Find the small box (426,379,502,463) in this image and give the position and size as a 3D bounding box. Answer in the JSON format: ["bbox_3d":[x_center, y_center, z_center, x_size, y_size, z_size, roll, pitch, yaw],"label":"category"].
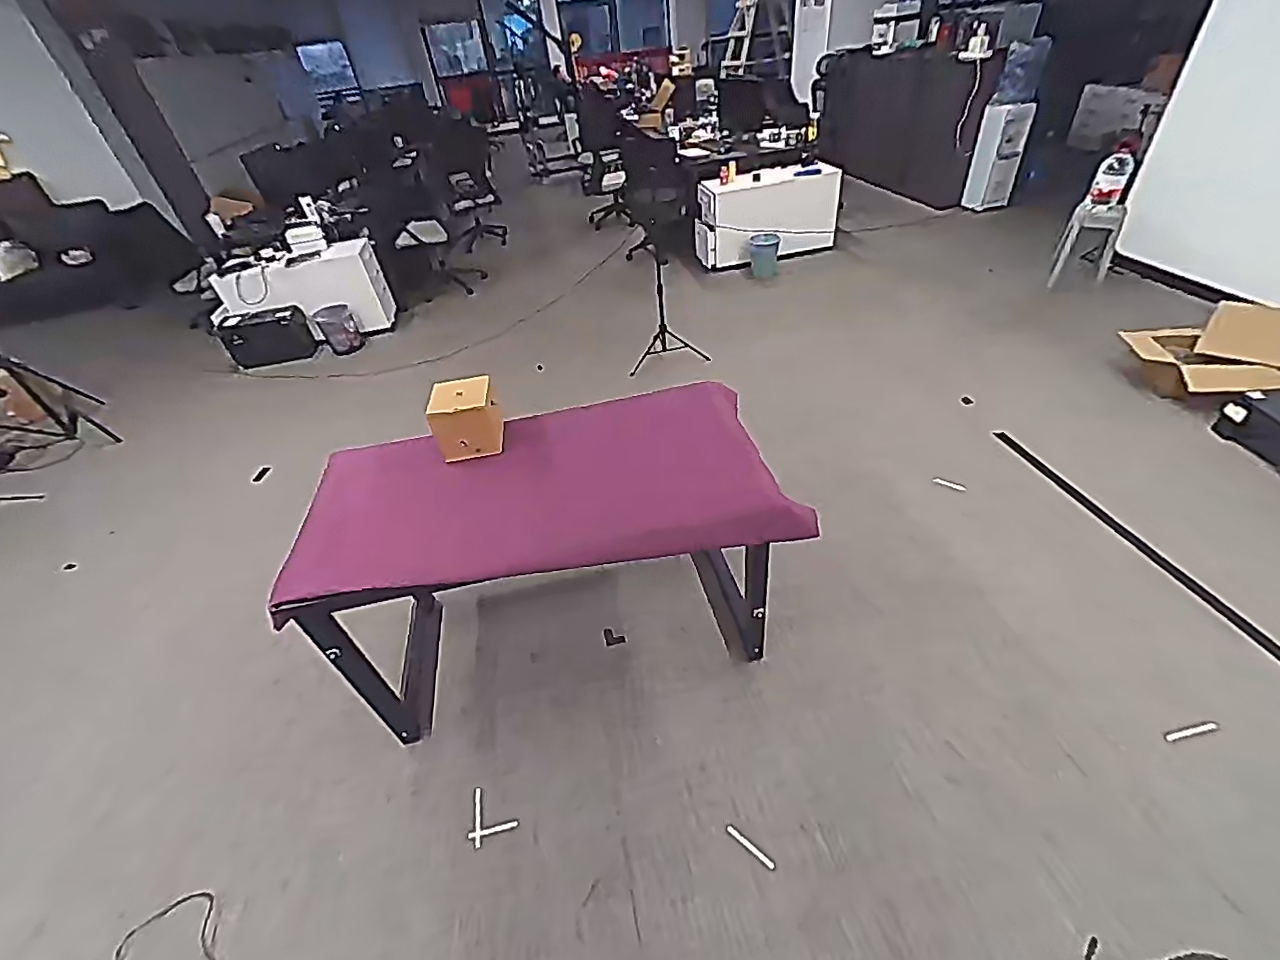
[{"bbox_3d":[-0.511,-0.173,1.595,0.168,0.176,0.179,-10,40,-3],"label":"small box"}]
